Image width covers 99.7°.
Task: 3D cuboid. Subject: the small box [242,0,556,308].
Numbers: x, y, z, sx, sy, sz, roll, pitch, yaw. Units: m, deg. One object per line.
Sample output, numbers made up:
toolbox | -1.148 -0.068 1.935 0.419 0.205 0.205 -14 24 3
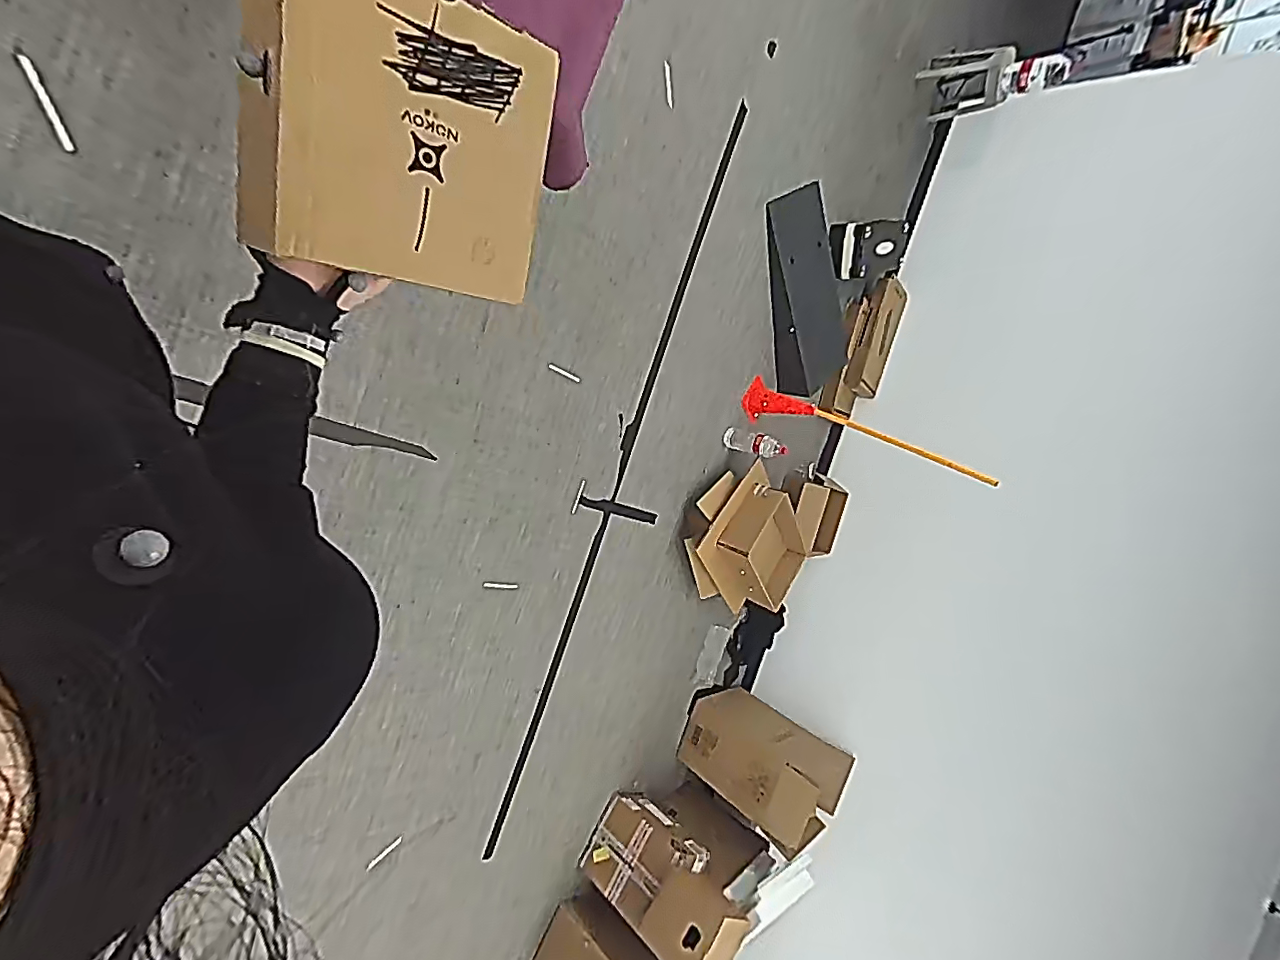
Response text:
small box | -0.189 -0.244 0.409 0.168 0.176 0.179 -2 112 -43
